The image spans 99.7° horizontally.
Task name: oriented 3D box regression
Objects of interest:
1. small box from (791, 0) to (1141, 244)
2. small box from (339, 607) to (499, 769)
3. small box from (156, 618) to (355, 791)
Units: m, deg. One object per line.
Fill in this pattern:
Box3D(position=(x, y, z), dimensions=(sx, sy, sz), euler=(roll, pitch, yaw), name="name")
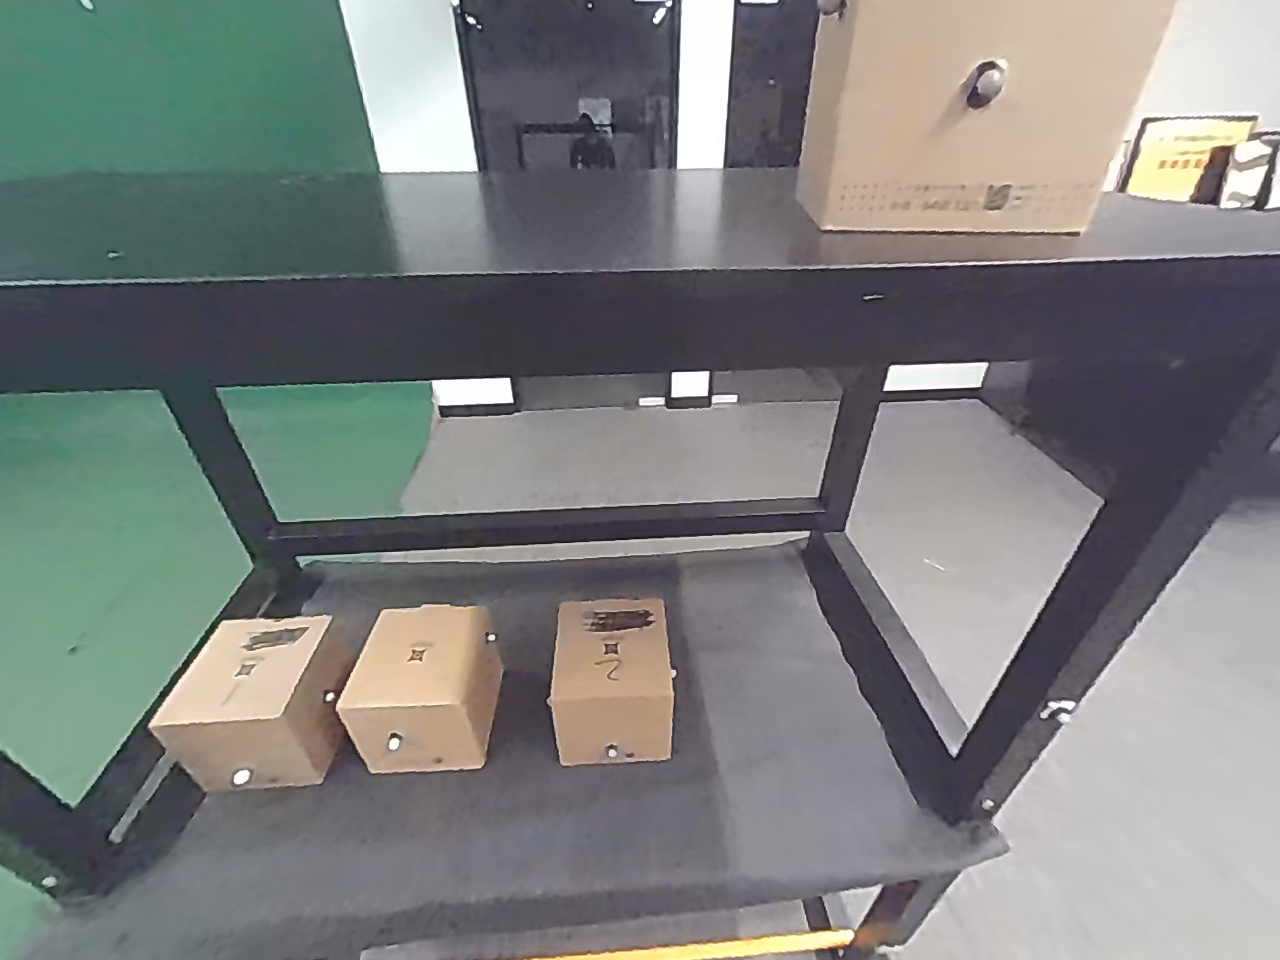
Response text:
Box3D(position=(0.212, -0.275, 0.395), dimensions=(0.168, 0.176, 0.179), euler=(4, 33, 6), name="small box")
Box3D(position=(-0.319, 0.320, 0.828), dimensions=(0.168, 0.176, 0.179), euler=(-2, 33, -2), name="small box")
Box3D(position=(-0.545, 0.331, 0.807), dimensions=(0.168, 0.176, 0.179), euler=(-2, 34, -3), name="small box")
